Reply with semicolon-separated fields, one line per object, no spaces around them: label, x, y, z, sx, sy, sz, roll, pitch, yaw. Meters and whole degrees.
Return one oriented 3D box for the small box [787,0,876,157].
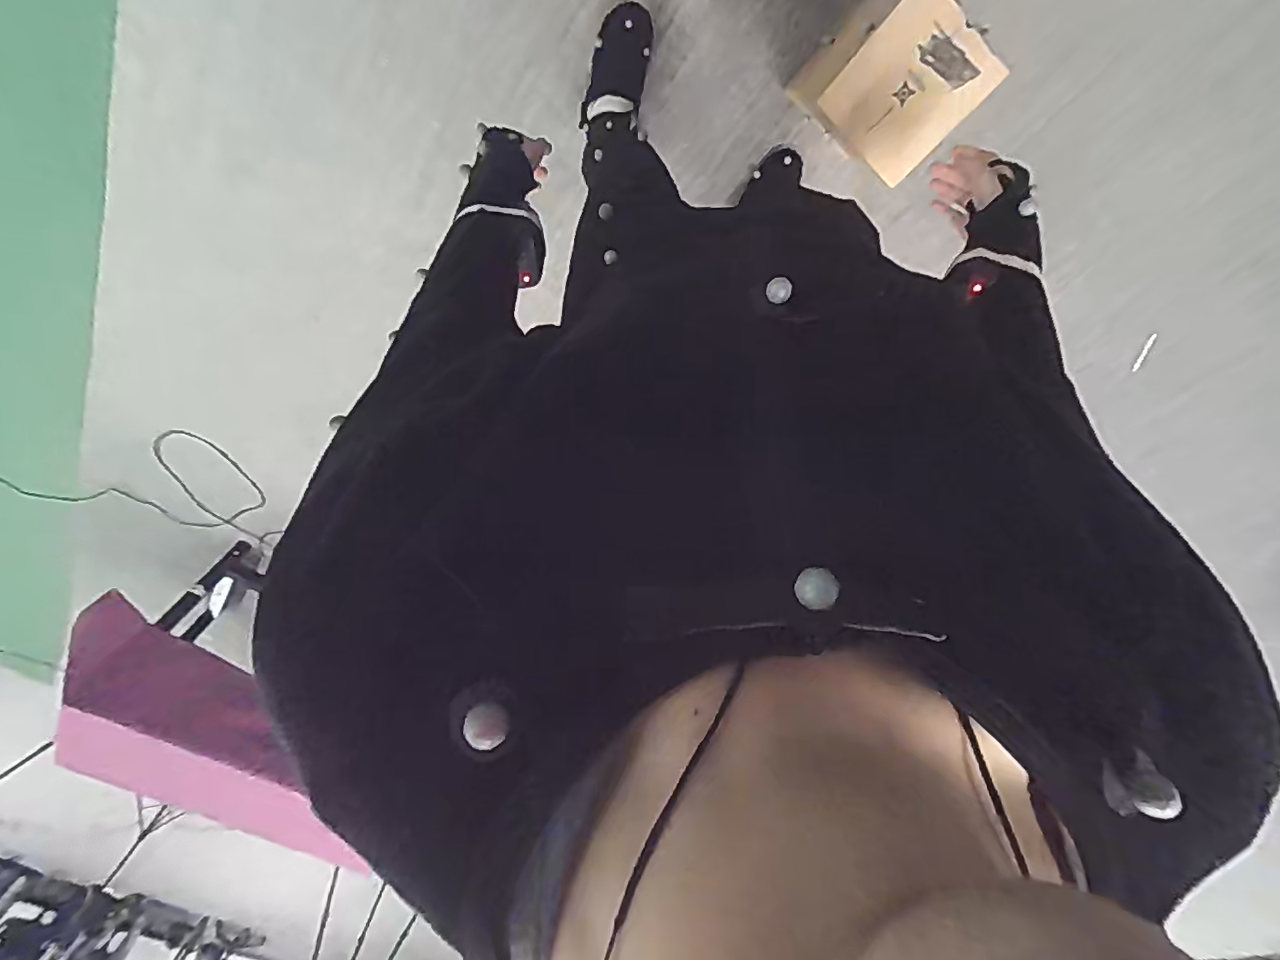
small box;0.399;-0.760;1.030;0.168;0.176;0.179;35;124;-18

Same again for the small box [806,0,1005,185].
small box;0.360;-0.564;0.770;0.168;0.176;0.179;36;124;-17
